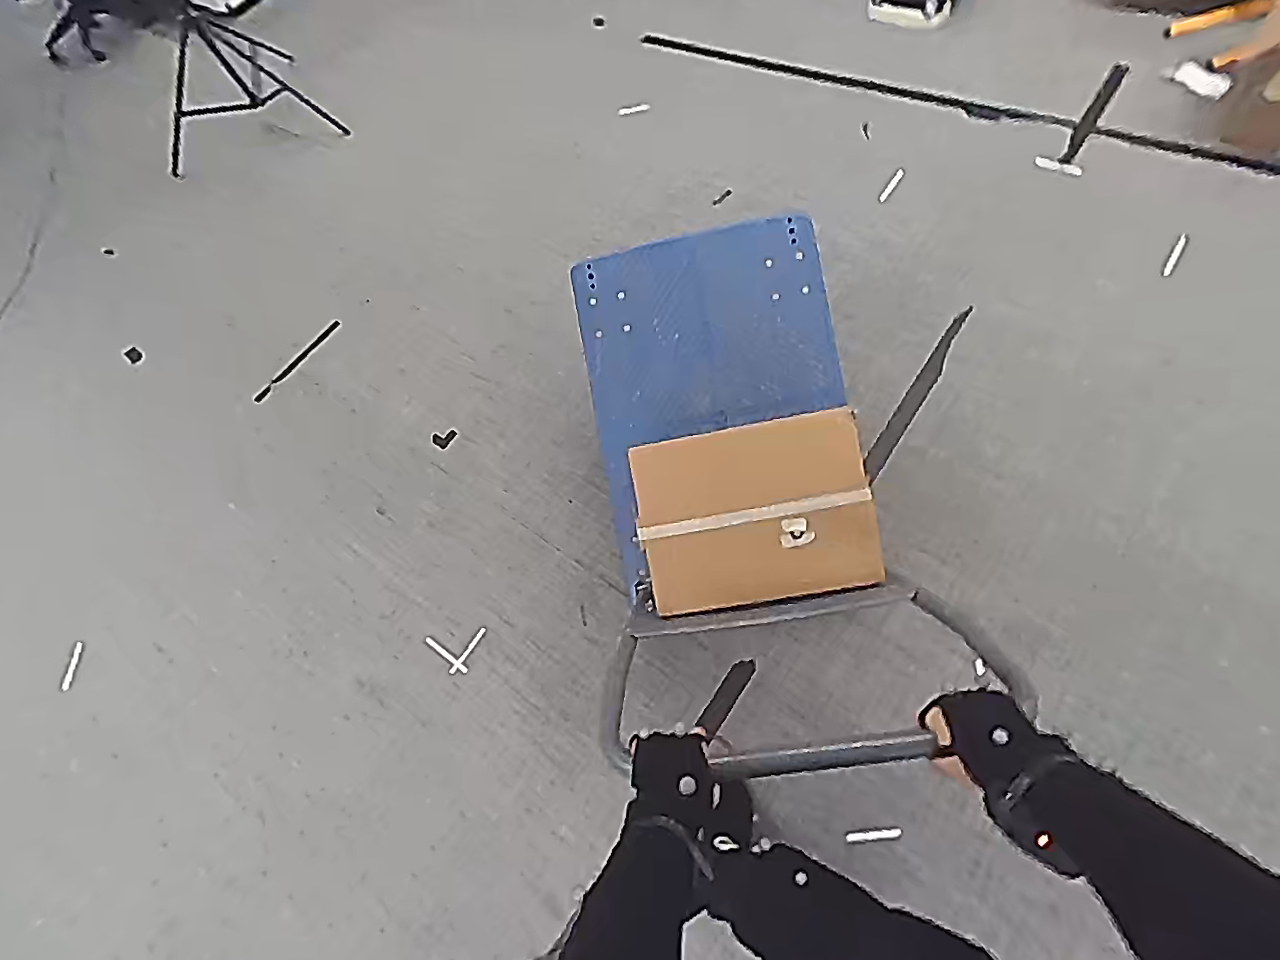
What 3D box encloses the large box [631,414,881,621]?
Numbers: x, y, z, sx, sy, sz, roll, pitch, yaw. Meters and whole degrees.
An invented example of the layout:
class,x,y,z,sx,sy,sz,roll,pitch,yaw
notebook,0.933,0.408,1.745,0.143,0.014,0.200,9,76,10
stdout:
class,x,y,z,sx,sy,sz,roll,pitch,yaw
large box,0.218,0.075,1.124,0.408,0.320,0.320,-11,88,5
